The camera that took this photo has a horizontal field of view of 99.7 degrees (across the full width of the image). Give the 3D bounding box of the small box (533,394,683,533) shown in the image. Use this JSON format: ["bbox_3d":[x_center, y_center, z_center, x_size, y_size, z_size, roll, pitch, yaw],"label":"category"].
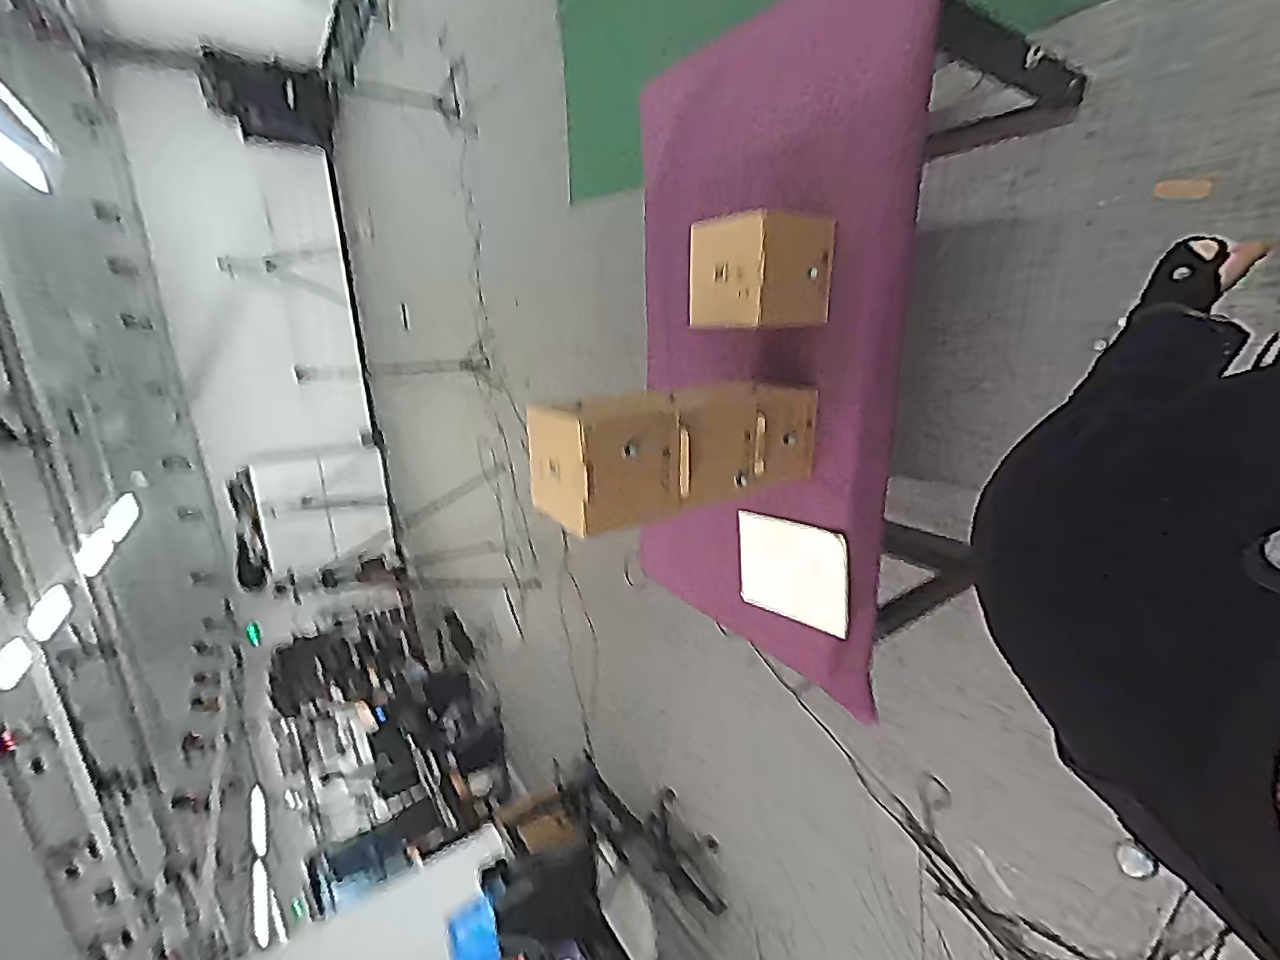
[{"bbox_3d":[-0.047,-0.037,0.831,0.179,0.176,0.168,23,118,52],"label":"small box"}]

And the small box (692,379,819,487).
[{"bbox_3d":[0.215,-0.098,1.019,0.179,0.176,0.168,21,117,51],"label":"small box"}]

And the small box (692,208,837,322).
[{"bbox_3d":[0.210,-0.361,0.935,0.179,0.176,0.168,22,119,53],"label":"small box"}]

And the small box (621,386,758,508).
[{"bbox_3d":[0.083,-0.067,0.924,0.179,0.176,0.168,22,119,53],"label":"small box"}]
